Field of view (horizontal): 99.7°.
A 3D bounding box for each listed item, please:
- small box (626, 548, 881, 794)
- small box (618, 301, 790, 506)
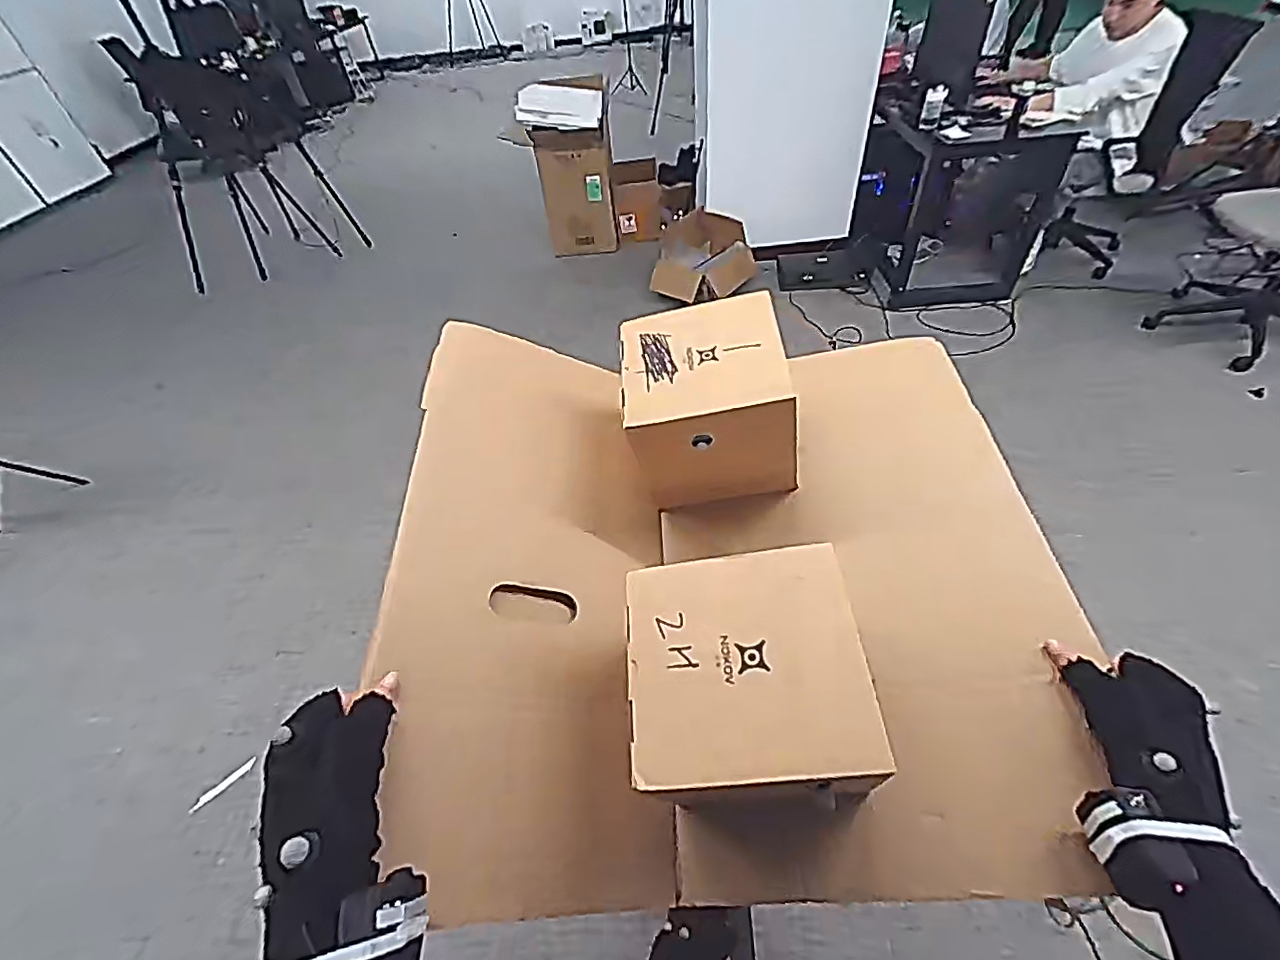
[{"bbox_3d":[0.093,0.178,0.480,0.179,0.176,0.168,-10,55,11],"label":"small box"},{"bbox_3d":[0.080,-0.083,0.659,0.179,0.176,0.168,-10,55,10],"label":"small box"}]
